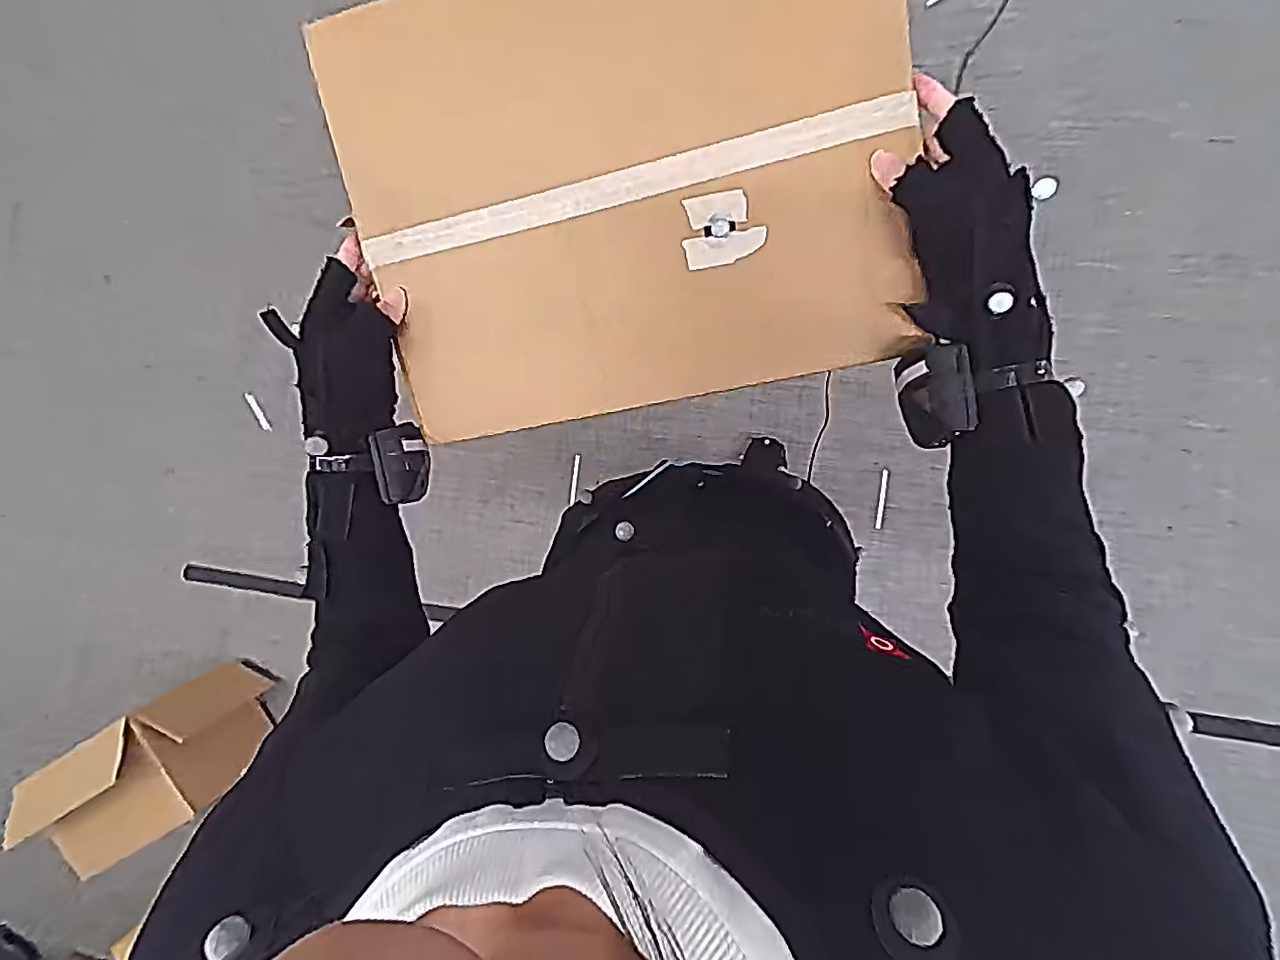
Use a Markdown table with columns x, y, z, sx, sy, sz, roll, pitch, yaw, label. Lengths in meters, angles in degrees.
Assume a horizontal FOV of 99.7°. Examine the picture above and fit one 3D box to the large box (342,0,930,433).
| x | y | z | sx | sy | sz | roll | pitch | yaw | label |
| --- | --- | --- | --- | --- | --- | --- | --- | --- | --- |
| 0.011 | -0.253 | 0.548 | 0.408 | 0.320 | 0.320 | -9 | 103 | 9 | large box |
